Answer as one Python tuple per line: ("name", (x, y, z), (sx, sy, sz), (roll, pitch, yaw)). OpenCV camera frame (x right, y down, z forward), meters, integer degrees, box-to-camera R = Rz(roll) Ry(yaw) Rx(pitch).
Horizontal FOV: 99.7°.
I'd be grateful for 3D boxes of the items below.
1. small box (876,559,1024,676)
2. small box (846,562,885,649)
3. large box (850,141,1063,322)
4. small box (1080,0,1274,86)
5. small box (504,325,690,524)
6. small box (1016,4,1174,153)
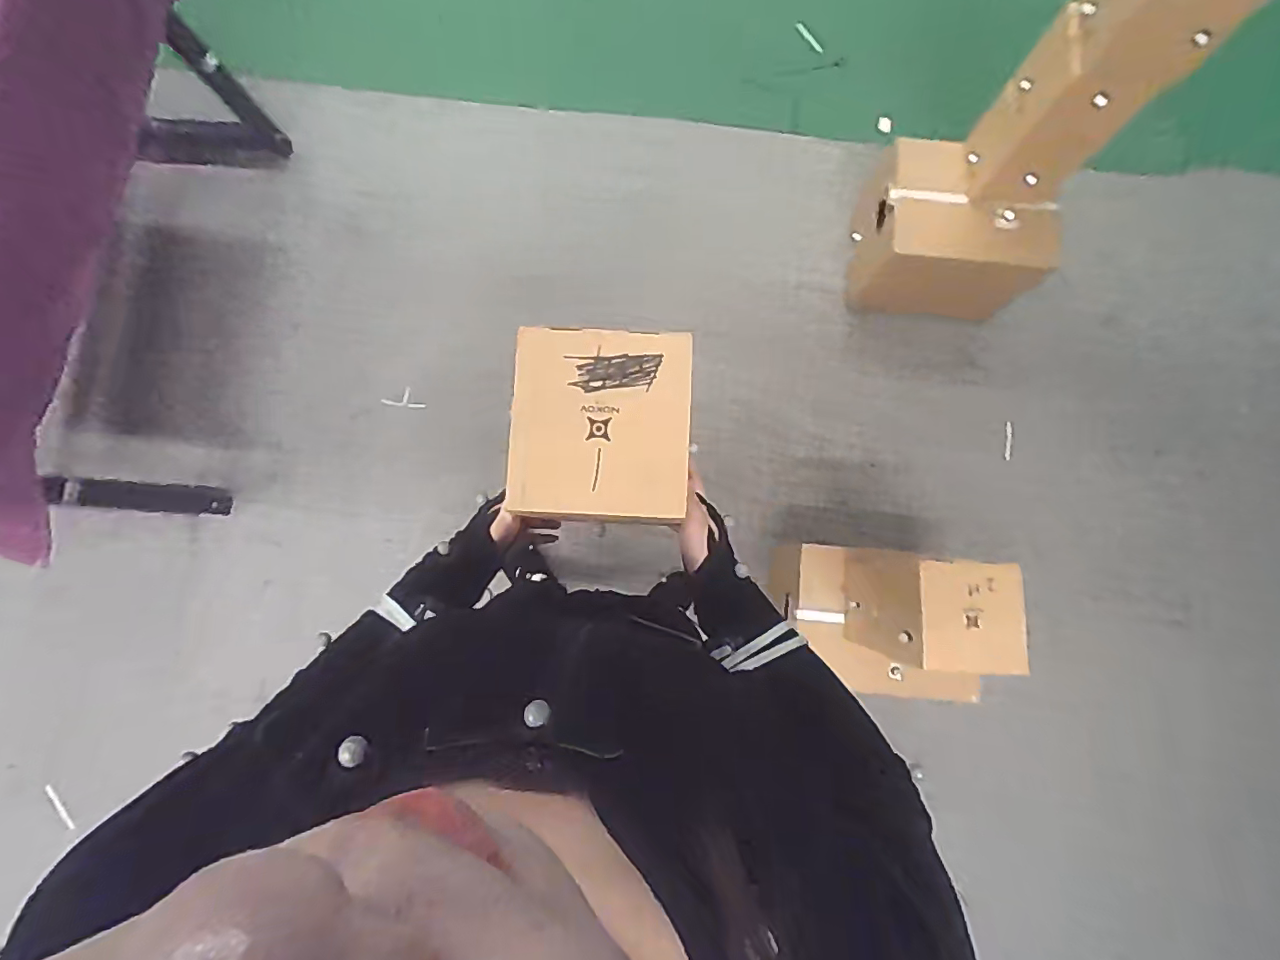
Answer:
("small box", (0.528, 0.231, 0.943), (0.168, 0.176, 0.179), (3, 81, 0))
("small box", (0.534, 0.258, 1.107), (0.179, 0.176, 0.168), (3, 81, 2))
("large box", (0.826, -0.651, 1.463), (0.408, 0.320, 0.320), (6, 82, 1))
("small box", (0.893, -0.806, 0.908), (0.179, 0.176, 0.168), (8, 79, 3))
("small box", (-0.038, -0.047, 0.579), (0.168, 0.176, 0.179), (2, 84, 1))
("small box", (0.888, -0.783, 1.069), (0.179, 0.176, 0.168), (6, 80, 2))
